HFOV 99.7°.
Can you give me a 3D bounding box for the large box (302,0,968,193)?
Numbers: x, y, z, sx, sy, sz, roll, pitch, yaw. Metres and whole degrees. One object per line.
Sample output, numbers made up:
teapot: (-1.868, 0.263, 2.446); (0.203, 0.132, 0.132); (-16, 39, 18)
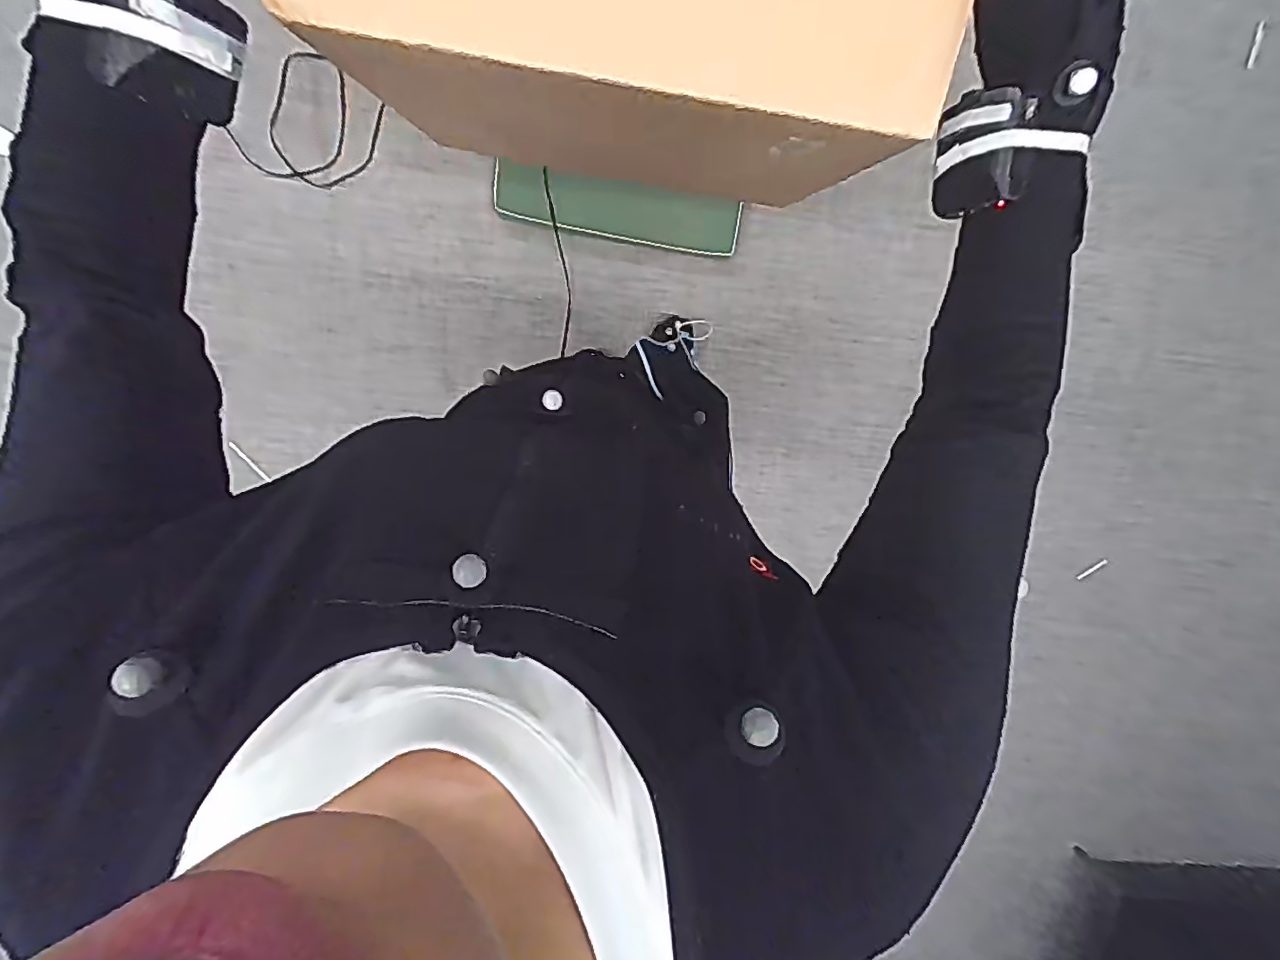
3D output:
large box: (0.007, -0.445, 0.421); (0.408, 0.320, 0.320); (7, 110, -6)
